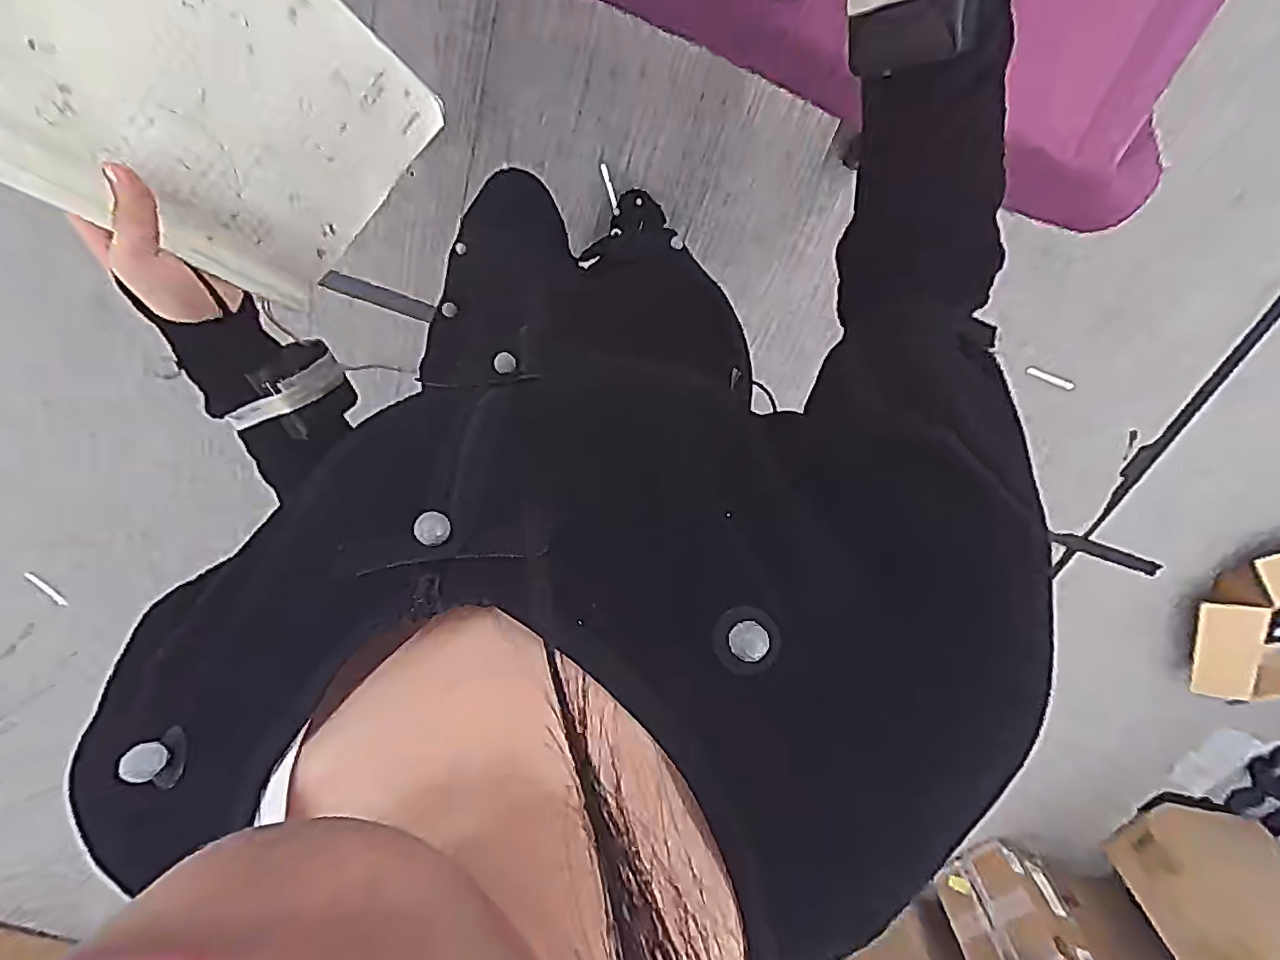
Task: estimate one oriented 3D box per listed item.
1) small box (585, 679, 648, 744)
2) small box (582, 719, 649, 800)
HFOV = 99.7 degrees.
[{"bbox_3d":[-0.080,0.862,1.974,0.179,0.176,0.168,-22,116,13],"label":"small box"},{"bbox_3d":[-0.080,0.942,1.830,0.179,0.176,0.168,-21,116,12],"label":"small box"}]
